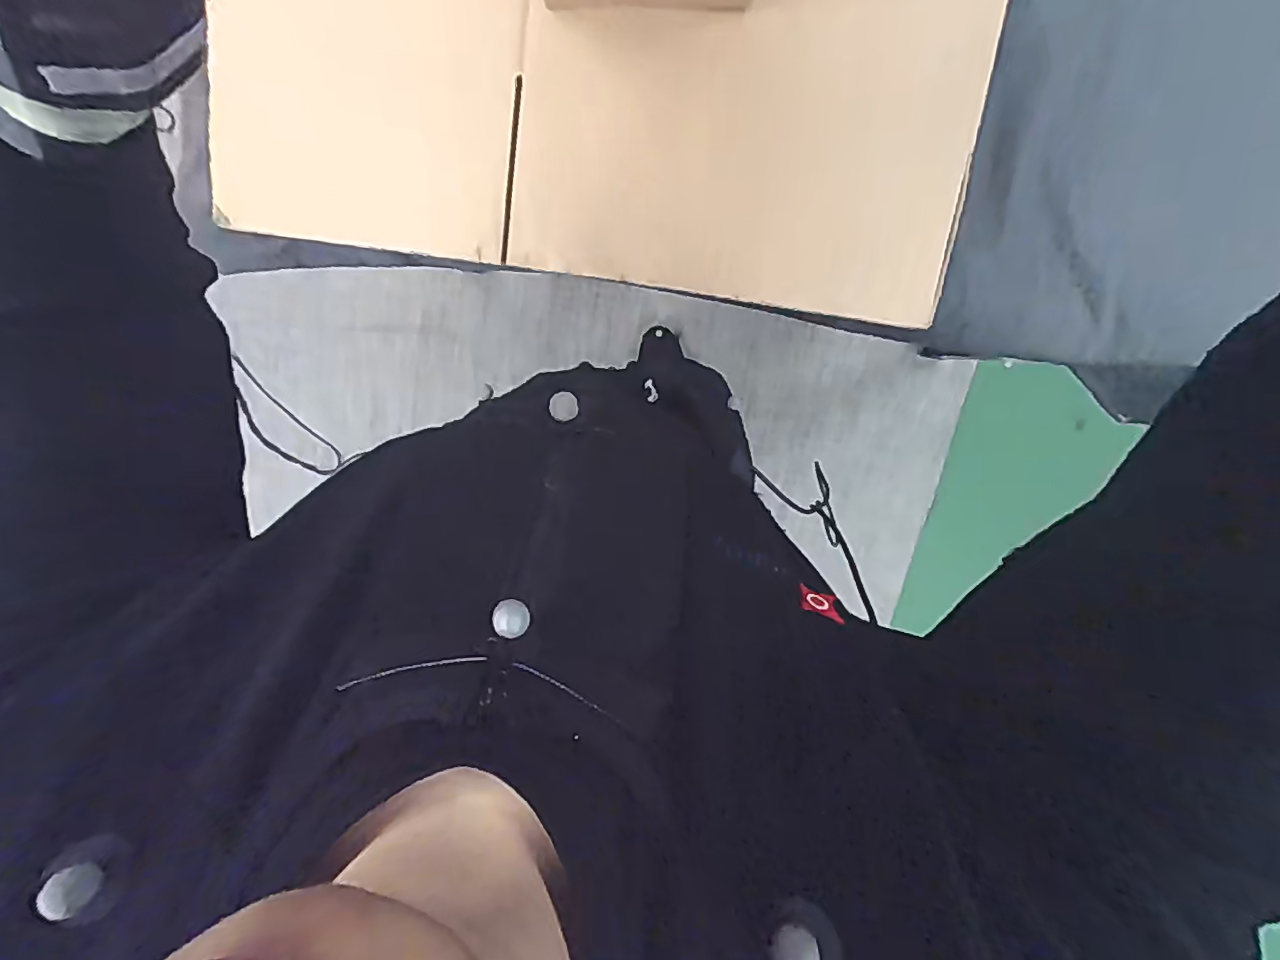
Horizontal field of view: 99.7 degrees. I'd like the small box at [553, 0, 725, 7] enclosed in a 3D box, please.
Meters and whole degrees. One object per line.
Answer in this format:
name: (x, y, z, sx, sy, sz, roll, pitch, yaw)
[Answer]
small box: (0.007, -0.453, 0.350, 0.179, 0.176, 0.168, 2, 100, 2)
